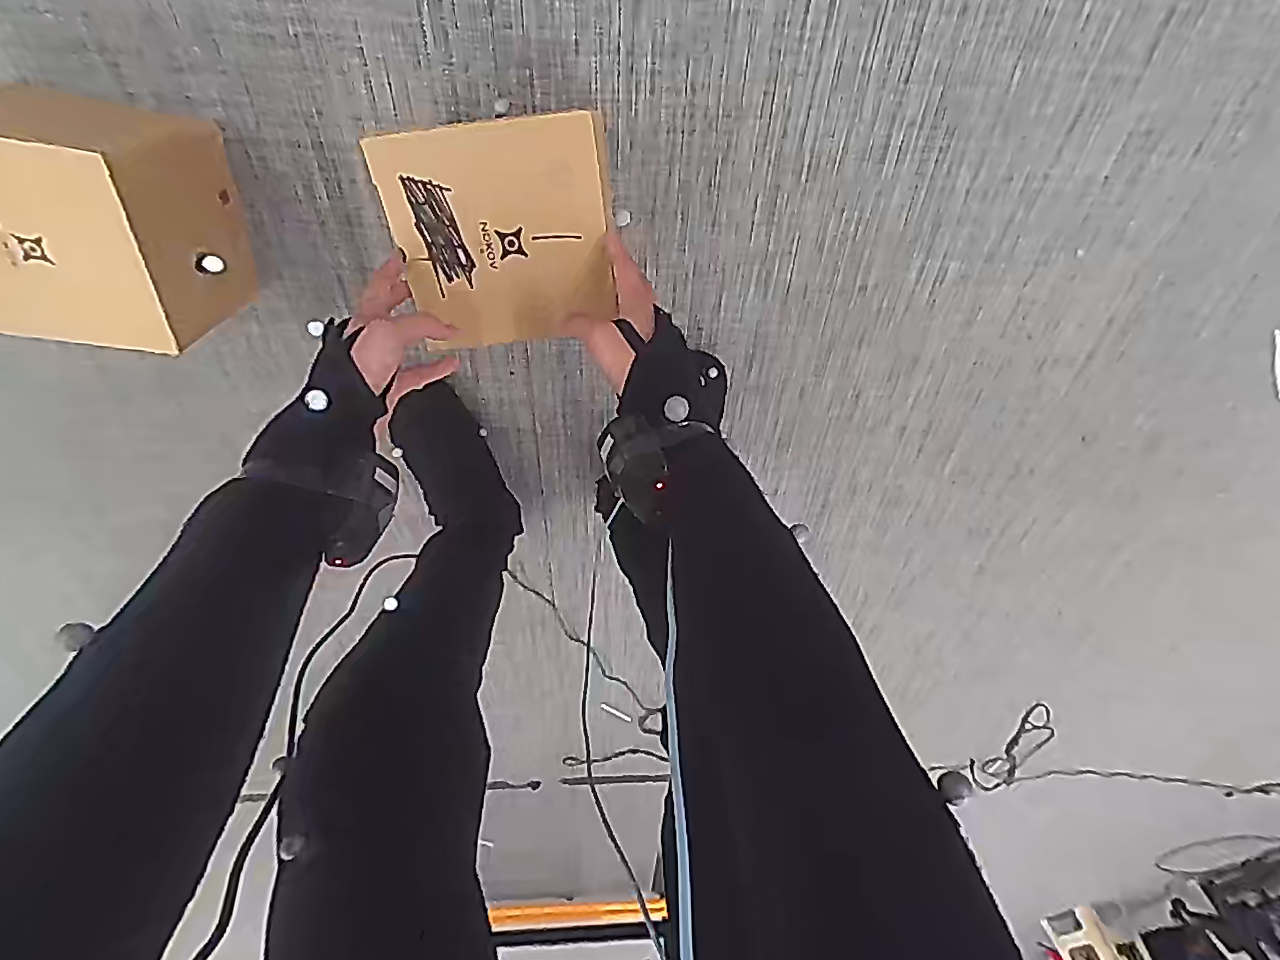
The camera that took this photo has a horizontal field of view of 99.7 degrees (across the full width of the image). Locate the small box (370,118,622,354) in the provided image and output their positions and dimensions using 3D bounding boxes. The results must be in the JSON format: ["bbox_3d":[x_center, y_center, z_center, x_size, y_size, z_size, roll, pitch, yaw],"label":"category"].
[{"bbox_3d":[-0.111,-0.231,0.507,0.179,0.176,0.168,-6,123,1],"label":"small box"}]

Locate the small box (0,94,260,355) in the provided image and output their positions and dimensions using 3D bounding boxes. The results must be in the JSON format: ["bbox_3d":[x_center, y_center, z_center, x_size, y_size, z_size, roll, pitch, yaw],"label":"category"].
[{"bbox_3d":[-0.488,-0.237,0.498,0.179,0.176,0.168,6,129,-8],"label":"small box"}]
